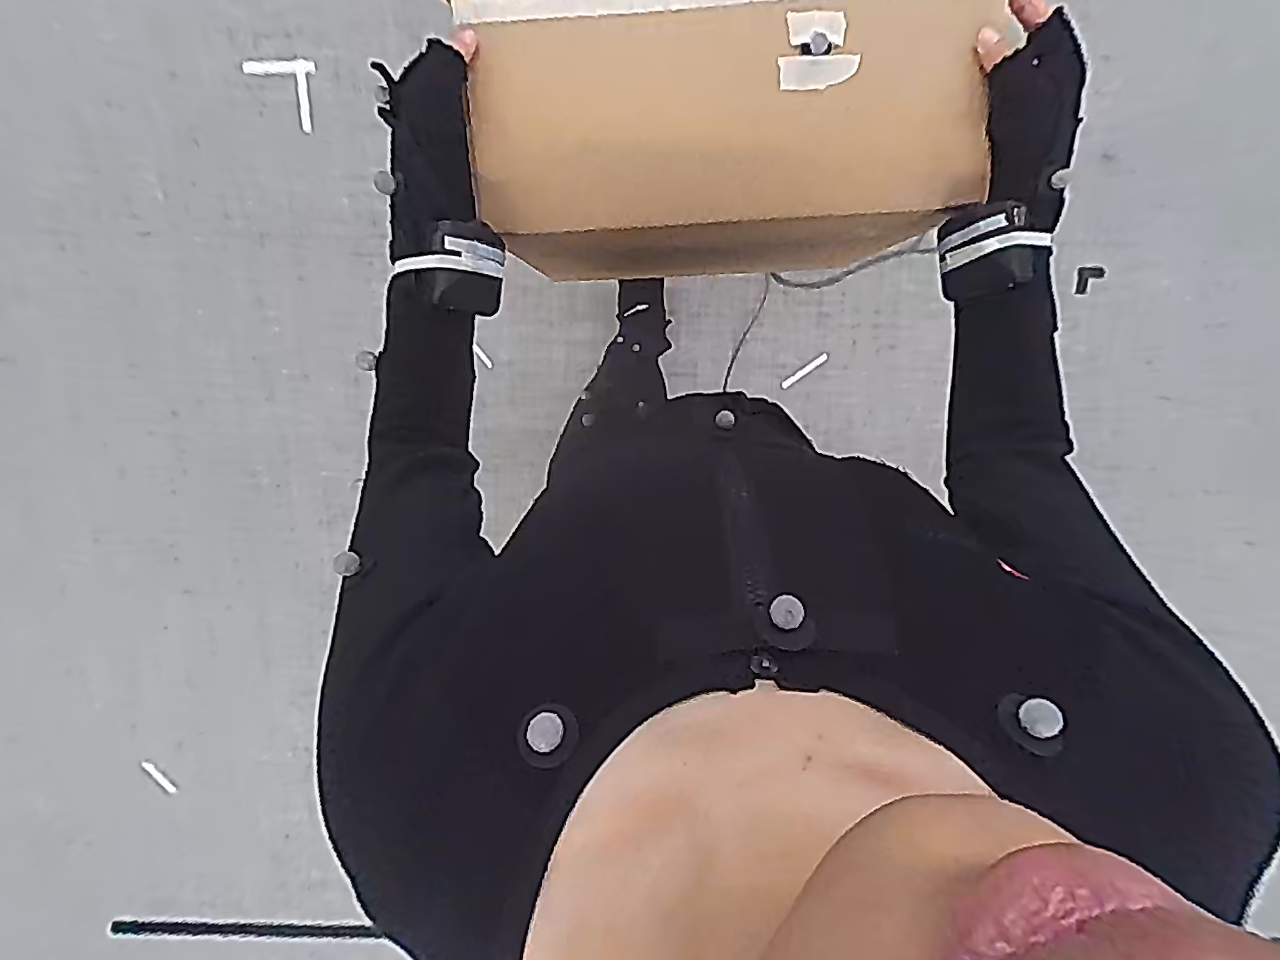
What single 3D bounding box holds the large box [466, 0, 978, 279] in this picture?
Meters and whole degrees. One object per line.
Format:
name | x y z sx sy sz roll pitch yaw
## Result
large box | 0.062 -0.404 0.563 0.408 0.320 0.320 -3 104 2
